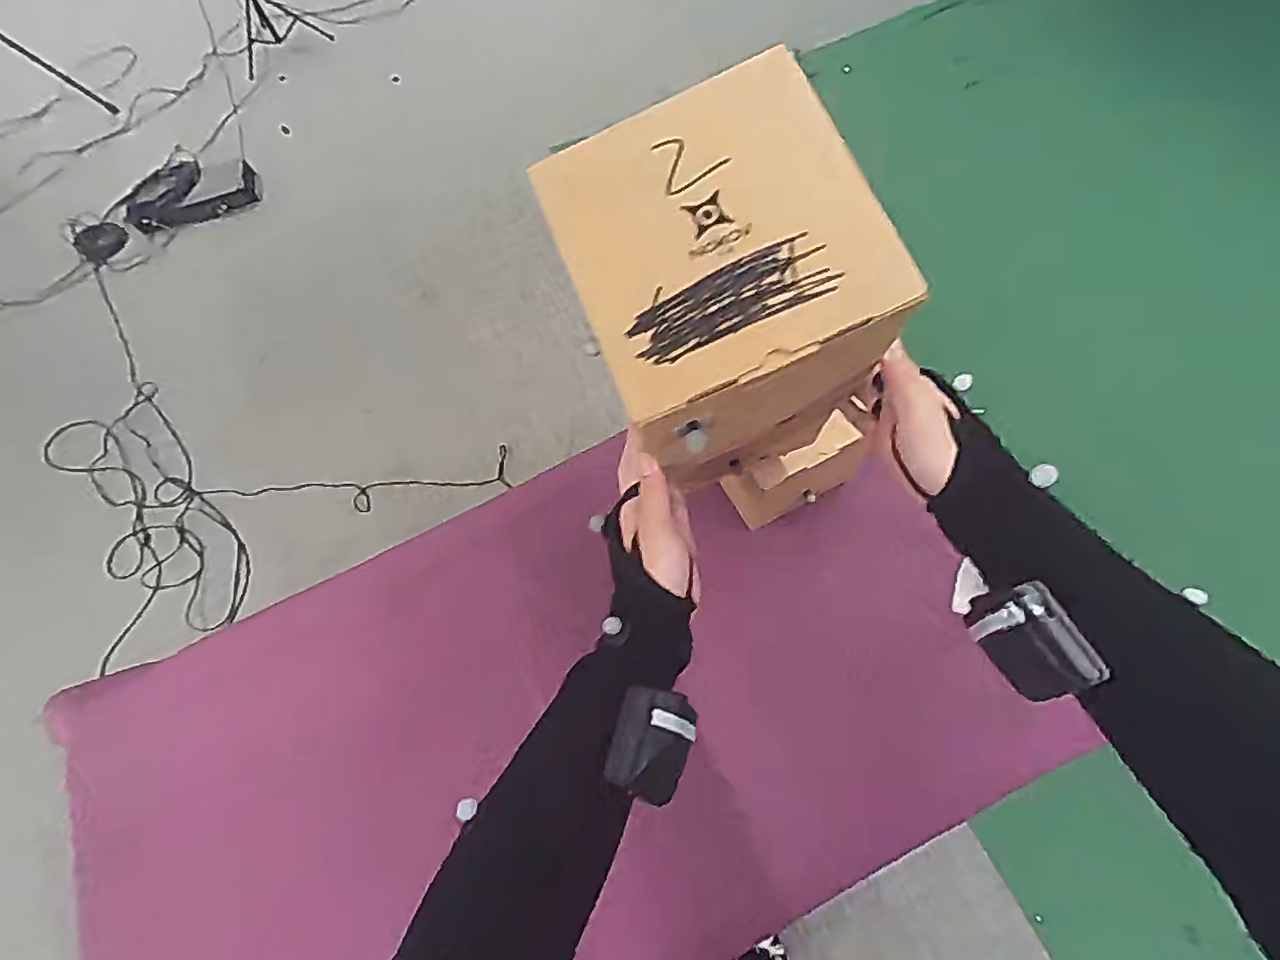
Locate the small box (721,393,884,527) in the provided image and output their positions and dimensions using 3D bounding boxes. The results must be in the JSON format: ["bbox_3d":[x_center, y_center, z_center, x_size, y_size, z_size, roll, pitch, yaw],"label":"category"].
[{"bbox_3d":[0.185,-0.063,0.729,0.168,0.176,0.179,-27,68,-4],"label":"small box"}]

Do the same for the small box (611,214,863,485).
[{"bbox_3d":[0.086,-0.110,0.531,0.168,0.176,0.179,-21,79,4],"label":"small box"}]
